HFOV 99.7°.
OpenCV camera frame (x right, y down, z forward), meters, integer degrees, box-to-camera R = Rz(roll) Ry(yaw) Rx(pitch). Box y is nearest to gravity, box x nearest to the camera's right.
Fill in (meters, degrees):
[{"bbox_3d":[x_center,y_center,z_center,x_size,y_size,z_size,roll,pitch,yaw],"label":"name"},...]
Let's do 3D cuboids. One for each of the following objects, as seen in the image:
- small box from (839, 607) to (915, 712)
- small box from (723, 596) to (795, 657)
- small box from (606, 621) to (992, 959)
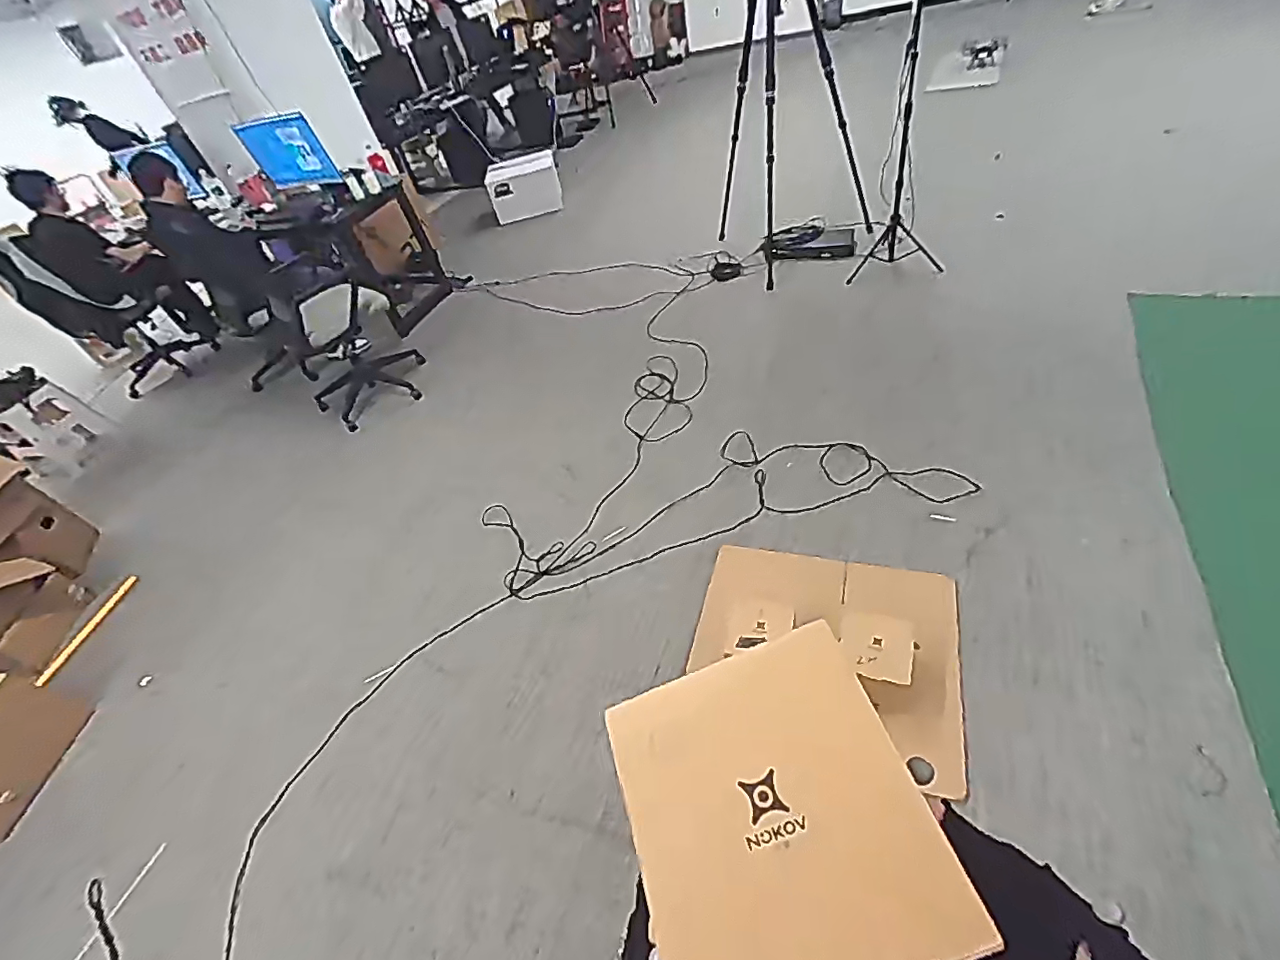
[{"bbox_3d":[0.595,0.459,1.383,0.168,0.176,0.179,8,51,25],"label":"small box"},{"bbox_3d":[0.331,0.443,1.474,0.168,0.176,0.179,4,48,21],"label":"small box"},{"bbox_3d":[0.095,0.232,0.378,0.168,0.176,0.179,-24,52,4],"label":"small box"}]
